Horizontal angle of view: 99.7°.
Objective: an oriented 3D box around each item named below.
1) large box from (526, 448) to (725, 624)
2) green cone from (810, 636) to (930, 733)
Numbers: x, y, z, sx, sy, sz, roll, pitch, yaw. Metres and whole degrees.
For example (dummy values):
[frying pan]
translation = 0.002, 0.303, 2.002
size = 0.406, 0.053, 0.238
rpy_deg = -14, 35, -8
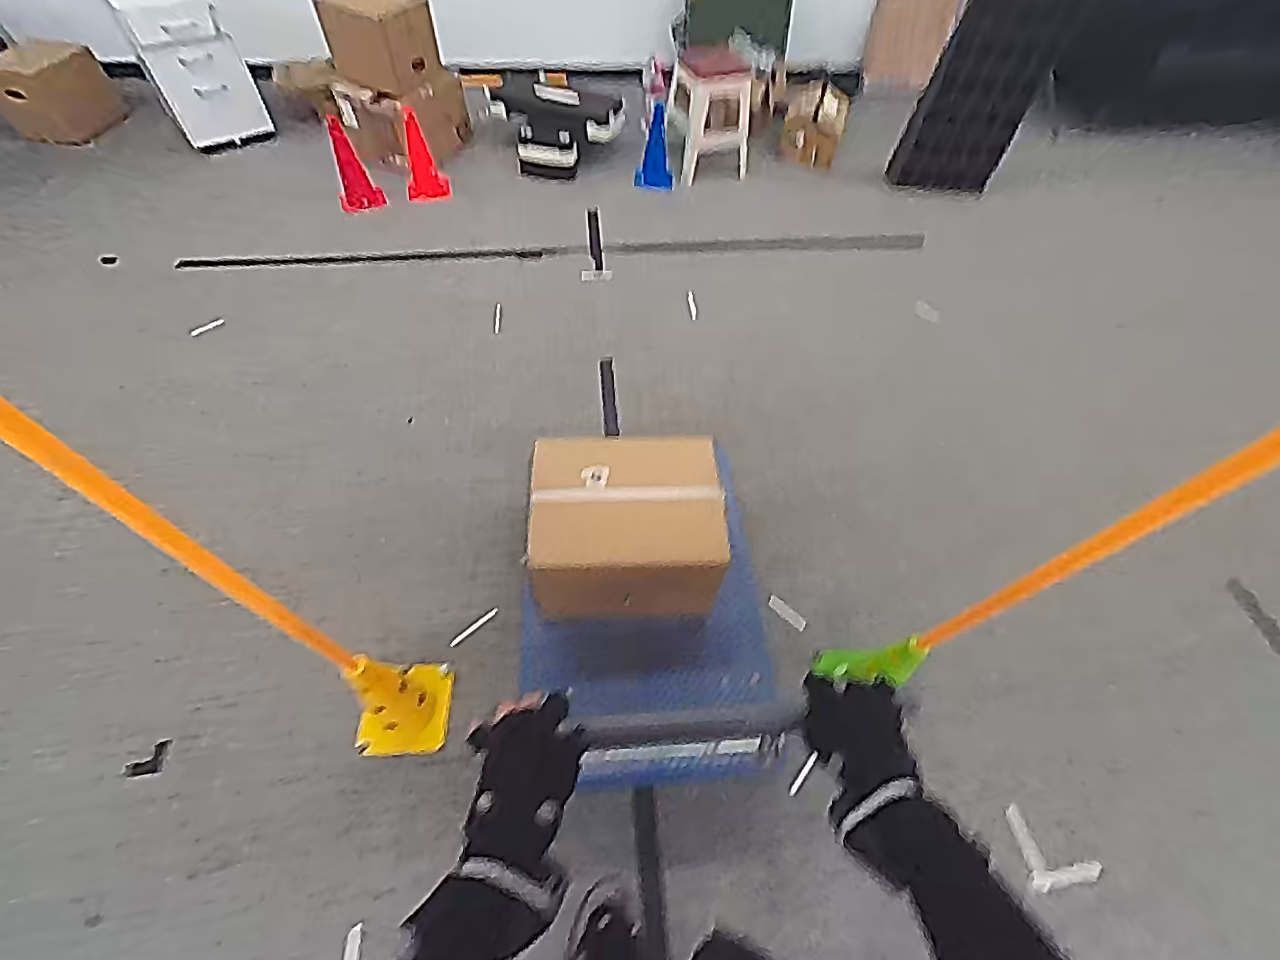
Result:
[large box]
translation = -0.038, 0.140, 1.278
size = 0.408, 0.320, 0.320
rpy_deg = -1, 56, -3
[green cone]
translation = 0.567, 0.451, 1.265
size = 0.202, 0.368, 0.200
rpy_deg = 0, 55, -4
